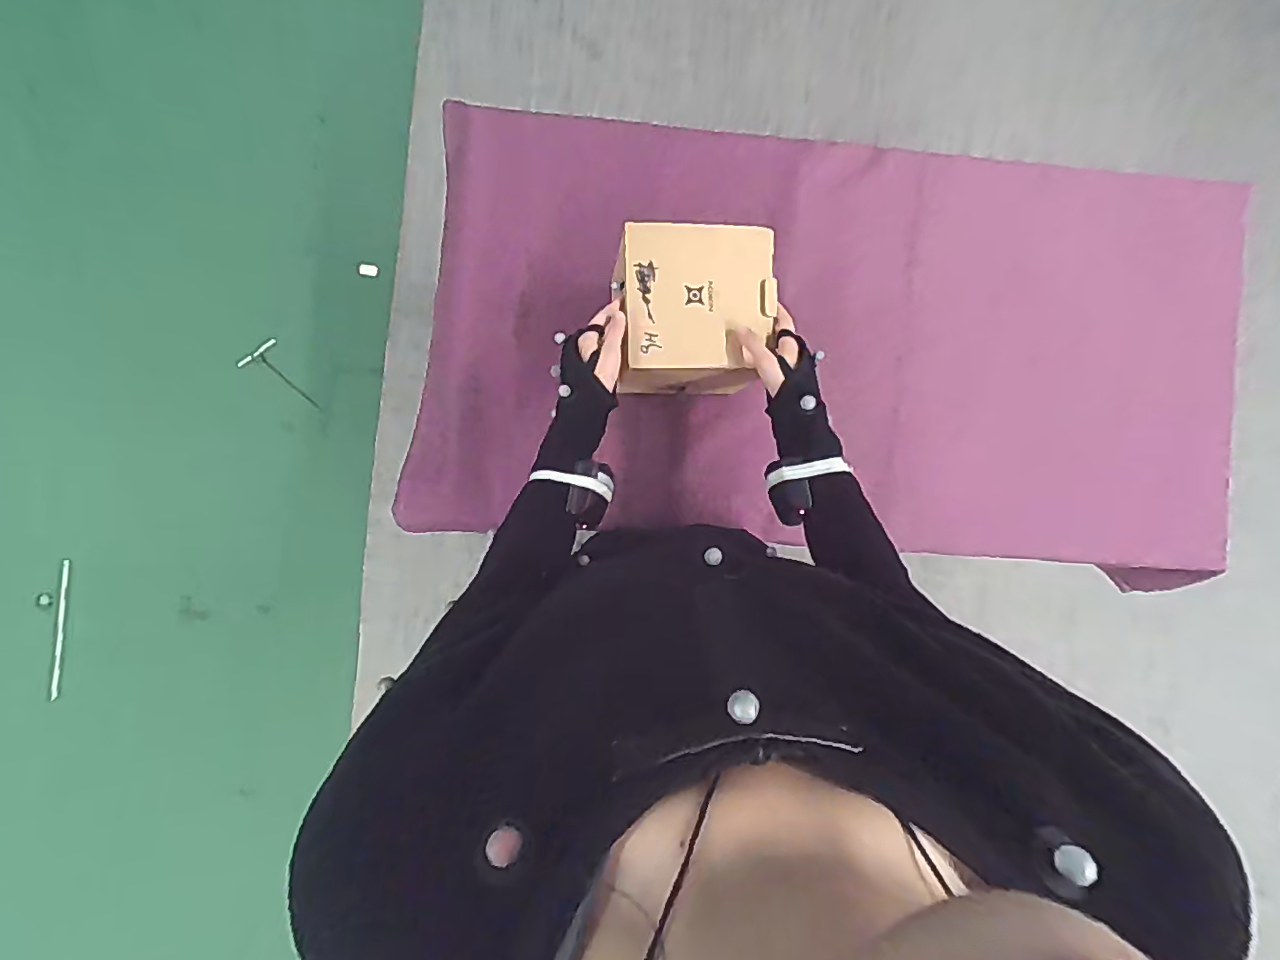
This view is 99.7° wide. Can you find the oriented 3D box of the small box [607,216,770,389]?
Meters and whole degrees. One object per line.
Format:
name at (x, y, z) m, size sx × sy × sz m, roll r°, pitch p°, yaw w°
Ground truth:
small box at (0.052, -0.213, 0.691) m, size 0.179 × 0.176 × 0.168 m, roll -1°, pitch 90°, yaw -8°
